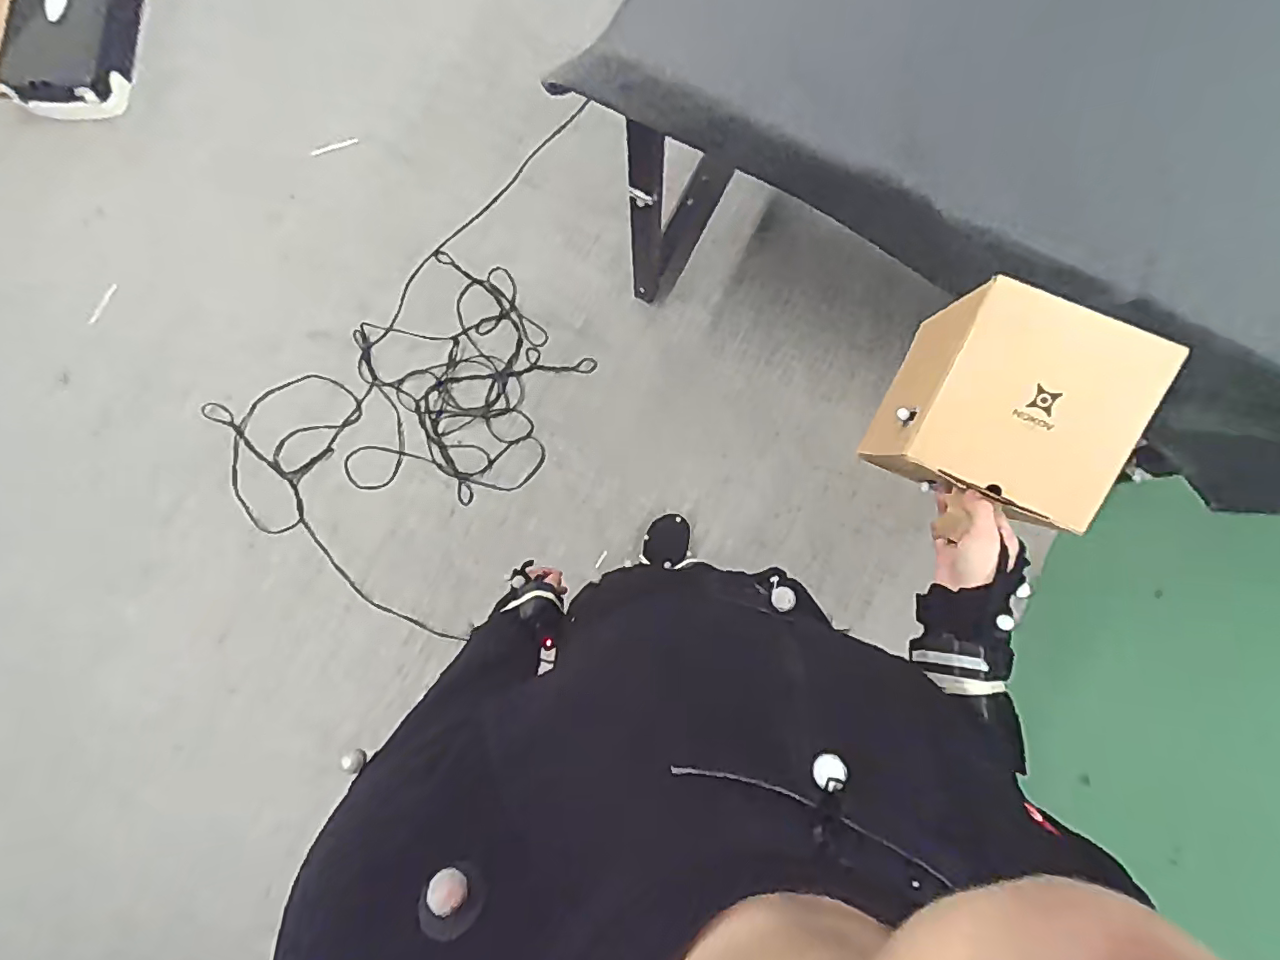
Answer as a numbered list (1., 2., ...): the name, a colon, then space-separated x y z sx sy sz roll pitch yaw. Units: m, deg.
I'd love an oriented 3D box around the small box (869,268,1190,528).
1. small box: 0.357 -0.076 0.541 0.168 0.176 0.179 25 97 5
